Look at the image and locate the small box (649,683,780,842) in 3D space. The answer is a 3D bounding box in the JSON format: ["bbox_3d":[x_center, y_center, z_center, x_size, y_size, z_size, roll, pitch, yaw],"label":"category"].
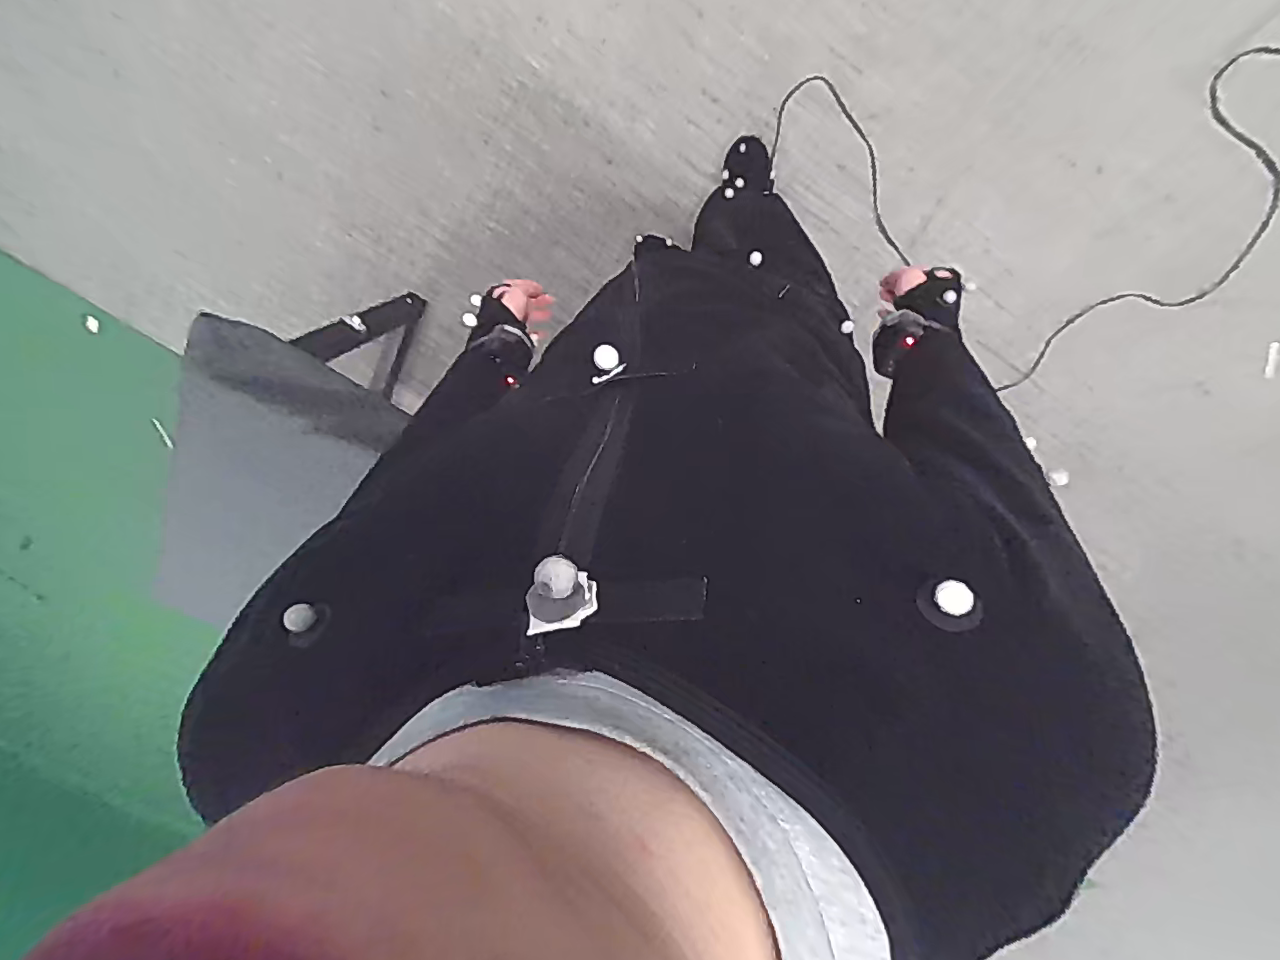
[{"bbox_3d":[0.138,0.517,1.001,0.168,0.176,0.179,31,118,-8],"label":"small box"}]
